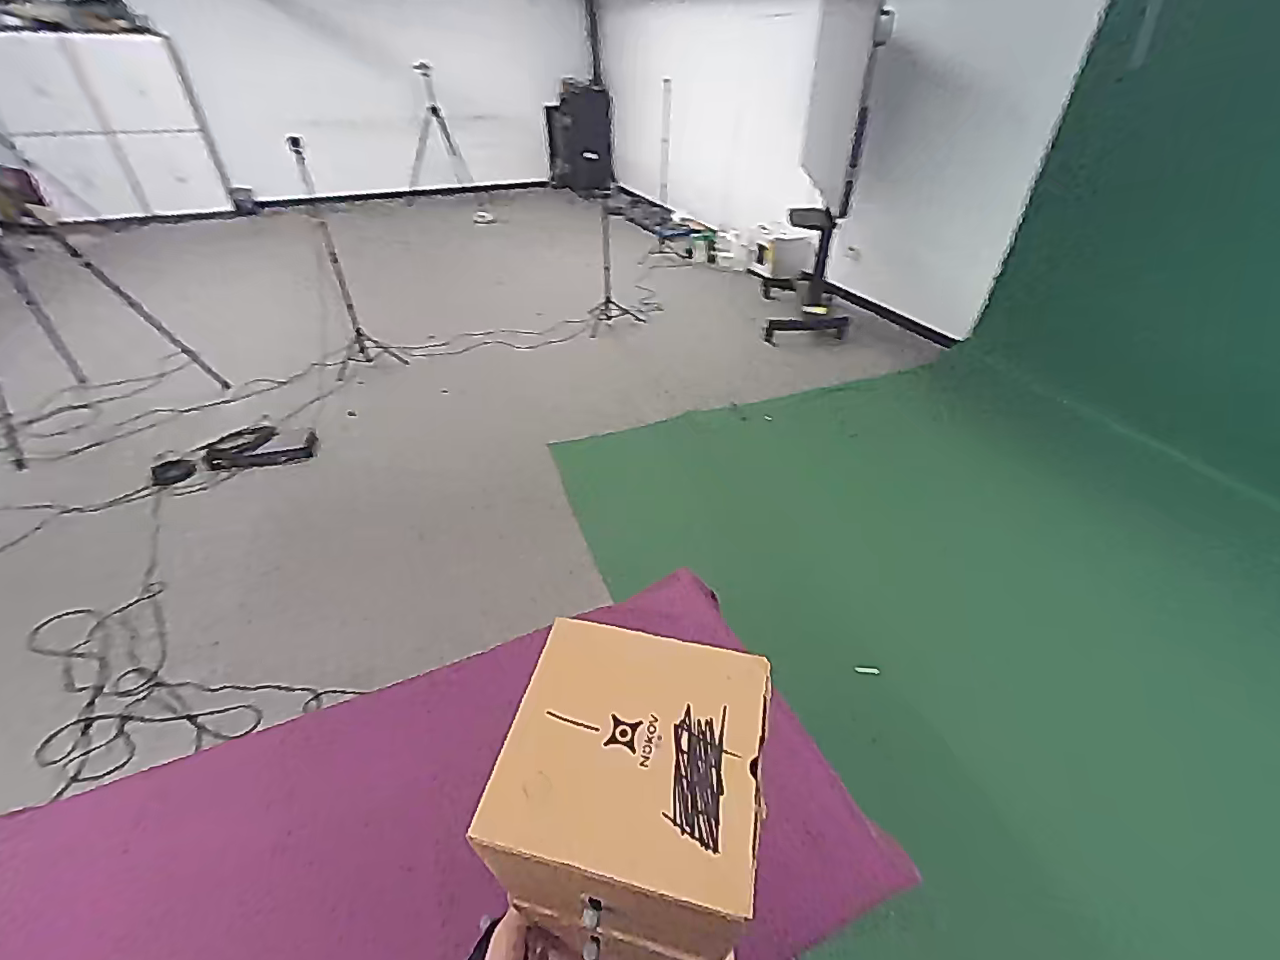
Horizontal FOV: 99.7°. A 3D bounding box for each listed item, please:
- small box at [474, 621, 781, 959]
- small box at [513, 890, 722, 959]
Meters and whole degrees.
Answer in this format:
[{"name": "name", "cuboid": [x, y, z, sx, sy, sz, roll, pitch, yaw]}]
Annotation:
[{"name": "small box", "cuboid": [0.003, 0.240, 0.422, 0.179, 0.176, 0.168, 9, 43, 11]}, {"name": "small box", "cuboid": [0.002, 0.363, 0.532, 0.179, 0.176, 0.168, 10, 44, 12]}]
